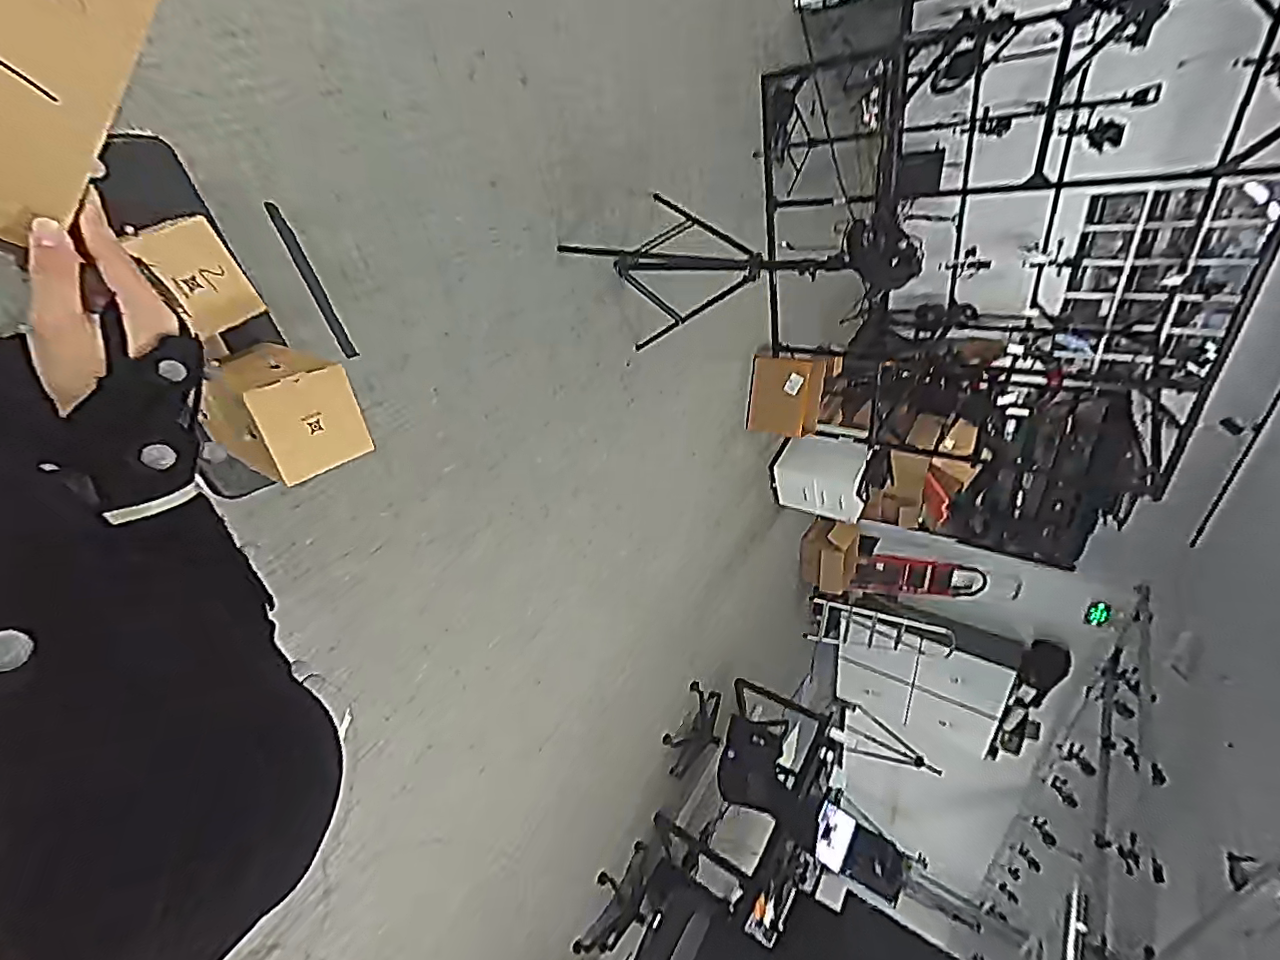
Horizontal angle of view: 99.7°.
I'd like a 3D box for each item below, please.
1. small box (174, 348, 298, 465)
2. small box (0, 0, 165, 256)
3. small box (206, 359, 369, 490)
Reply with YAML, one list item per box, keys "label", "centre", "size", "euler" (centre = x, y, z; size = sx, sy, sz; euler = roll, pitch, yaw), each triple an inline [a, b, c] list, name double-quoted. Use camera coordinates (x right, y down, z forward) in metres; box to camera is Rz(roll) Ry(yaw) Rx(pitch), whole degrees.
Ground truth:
- label: "small box"
  centre: [-0.768, -0.152, 1.064]
  size: [0.179, 0.176, 0.168]
  euler: [-41, 134, -41]
- label: "small box"
  centre: [-0.403, -0.234, 0.276]
  size: [0.179, 0.176, 0.168]
  euler: [23, 85, -56]
- label: "small box"
  centre: [-0.635, -0.108, 0.981]
  size: [0.168, 0.176, 0.179]
  euler: [-37, 130, -42]
